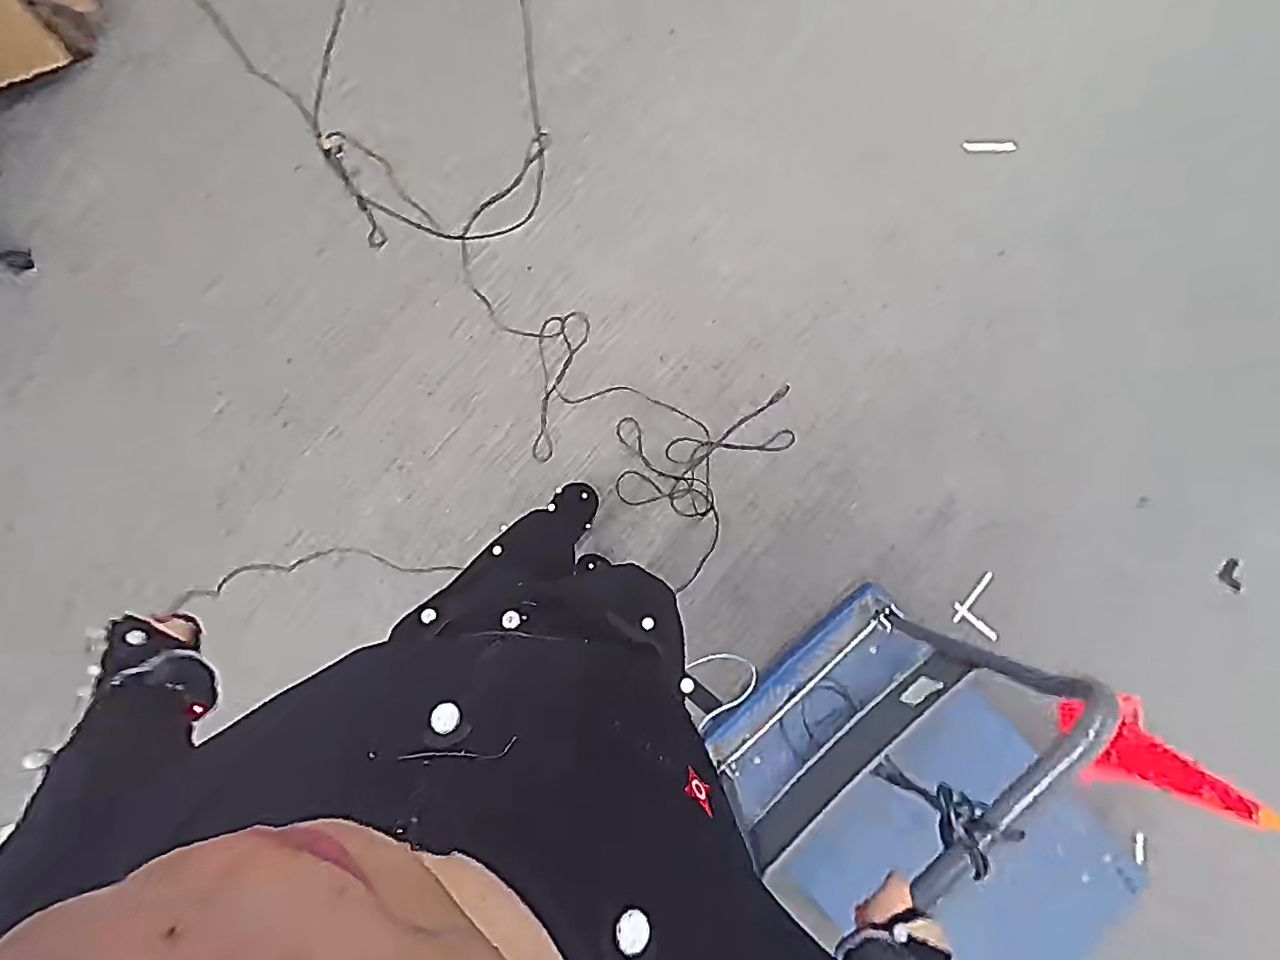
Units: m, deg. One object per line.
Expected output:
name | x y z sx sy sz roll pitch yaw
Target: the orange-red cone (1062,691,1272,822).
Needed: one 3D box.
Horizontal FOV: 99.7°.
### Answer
orange-red cone | 1.152 0.622 1.173 0.198 0.360 0.199 -4 88 1
